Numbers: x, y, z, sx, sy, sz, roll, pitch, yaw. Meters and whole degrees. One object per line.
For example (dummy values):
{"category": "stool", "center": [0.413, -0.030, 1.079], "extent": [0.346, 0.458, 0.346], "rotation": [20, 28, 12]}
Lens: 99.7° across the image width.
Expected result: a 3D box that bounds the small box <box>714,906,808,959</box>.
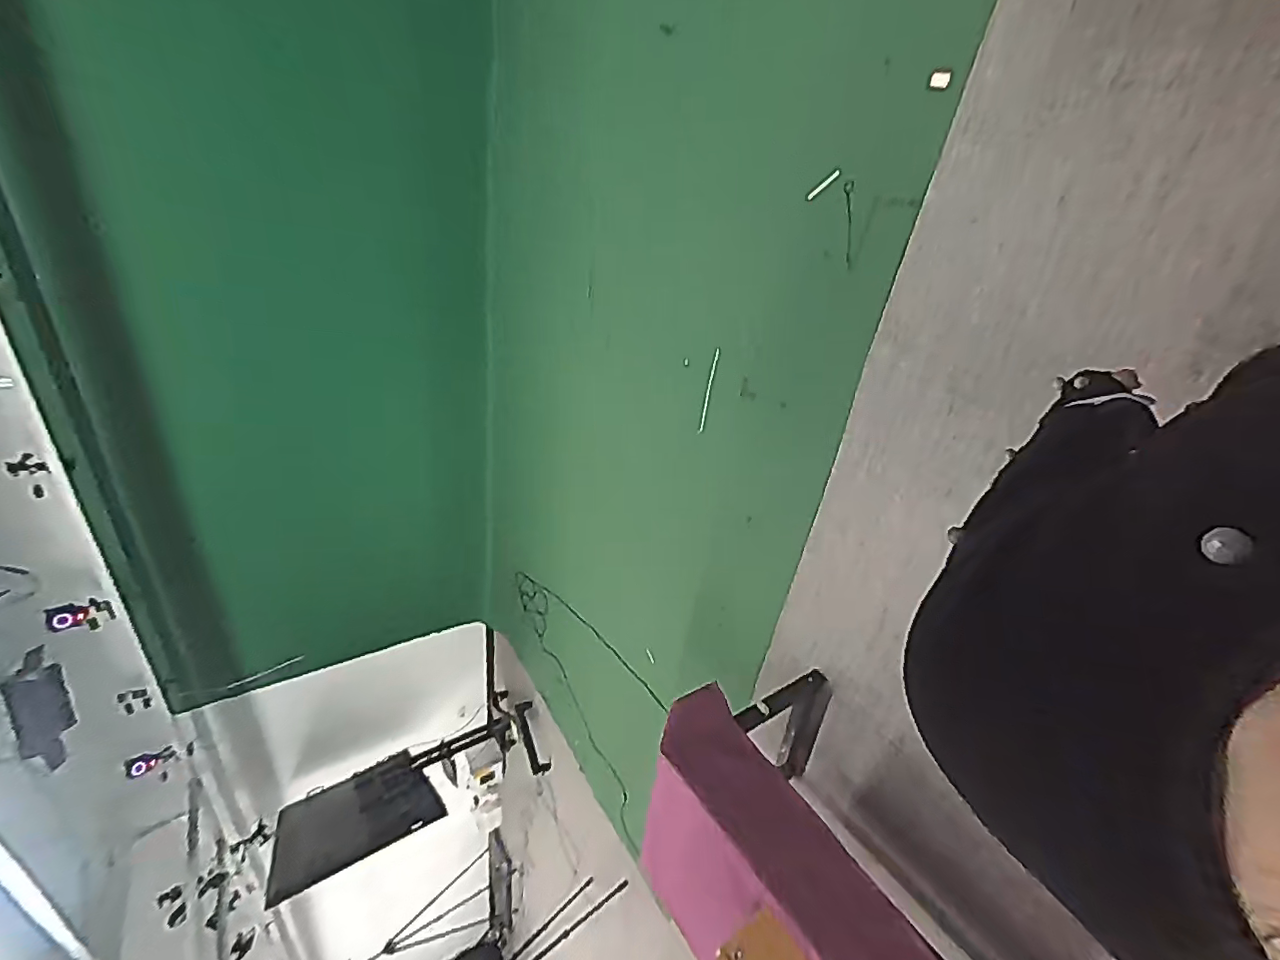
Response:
{"category": "small box", "center": [0.289, 1.166, 1.271], "extent": [0.179, 0.176, 0.168], "rotation": [39, 131, 45]}
